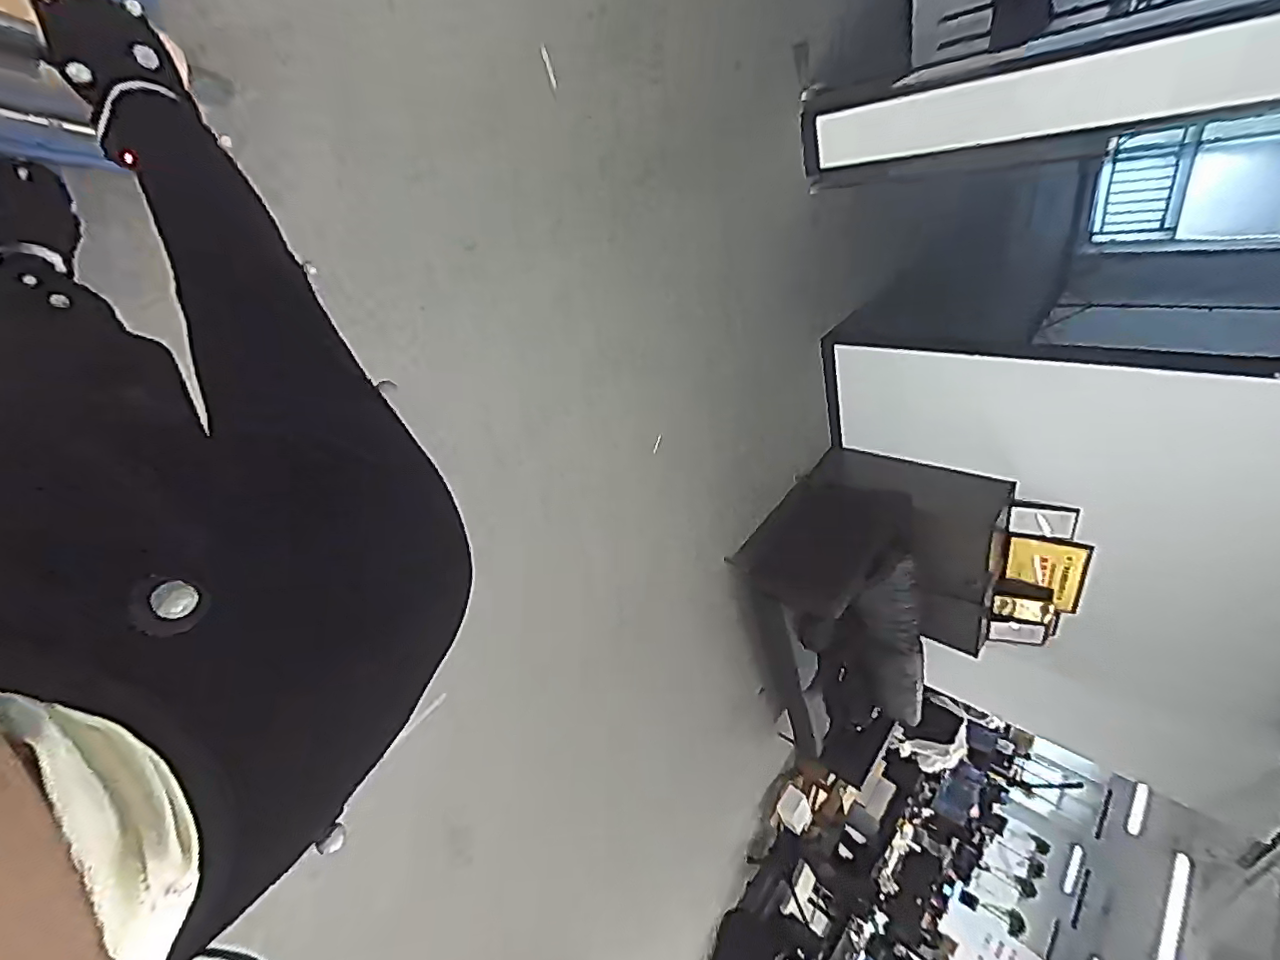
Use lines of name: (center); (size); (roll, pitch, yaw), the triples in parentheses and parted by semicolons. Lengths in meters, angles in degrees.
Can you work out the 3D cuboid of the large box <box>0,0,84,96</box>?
large box: (-0.955, -0.786, 0.671); (0.320, 0.320, 0.408); (-12, 112, -44)
